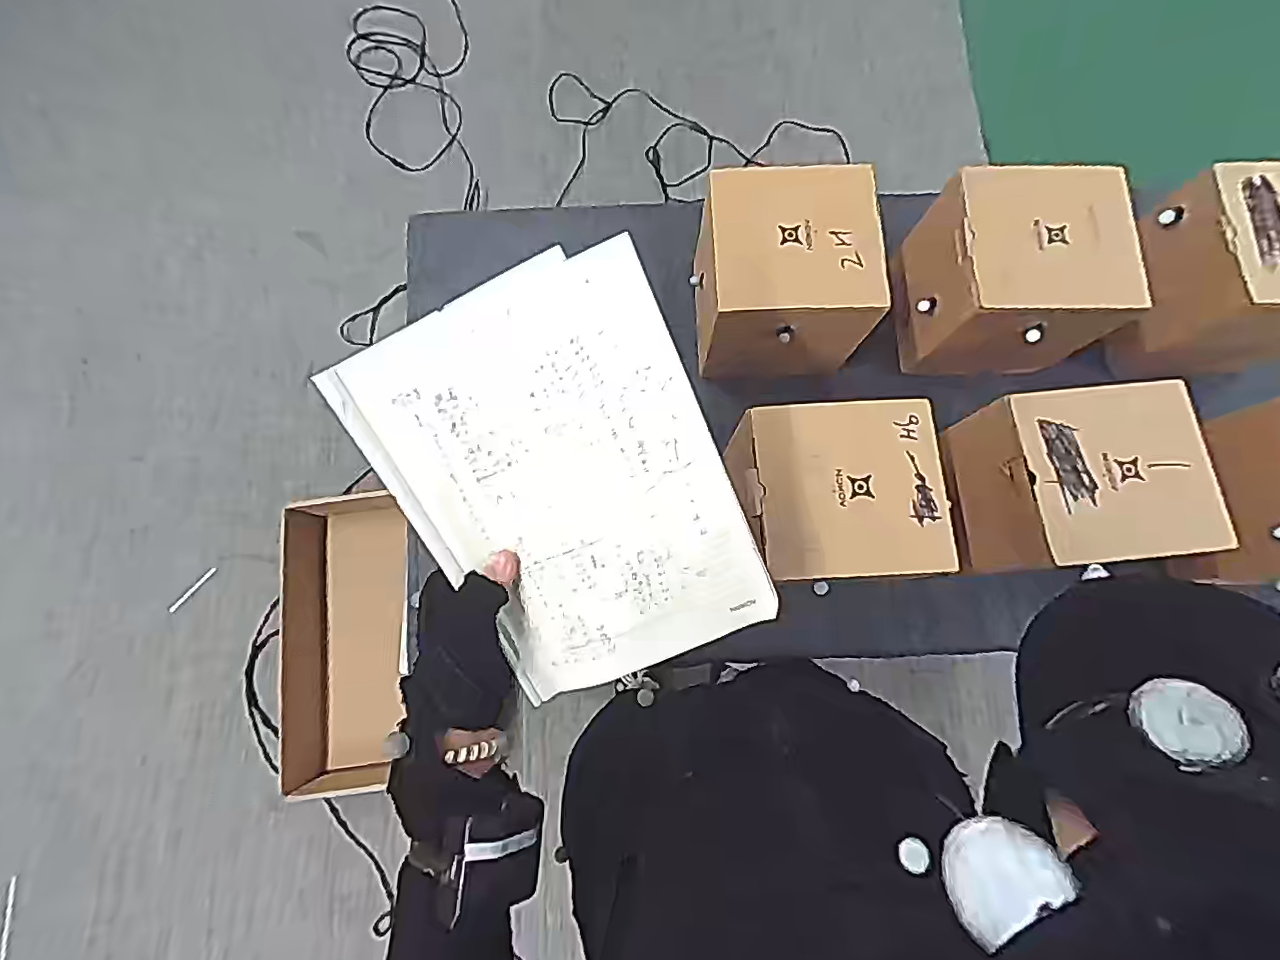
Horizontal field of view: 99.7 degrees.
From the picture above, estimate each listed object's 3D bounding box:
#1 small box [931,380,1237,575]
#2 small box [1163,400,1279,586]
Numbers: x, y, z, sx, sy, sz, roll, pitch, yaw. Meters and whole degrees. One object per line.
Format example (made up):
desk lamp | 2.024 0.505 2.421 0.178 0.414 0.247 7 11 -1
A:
small box | 0.438 0.008 0.575 0.179 0.176 0.168 -5 77 -2
small box | 0.700 0.019 0.576 0.168 0.176 0.179 1 77 0
